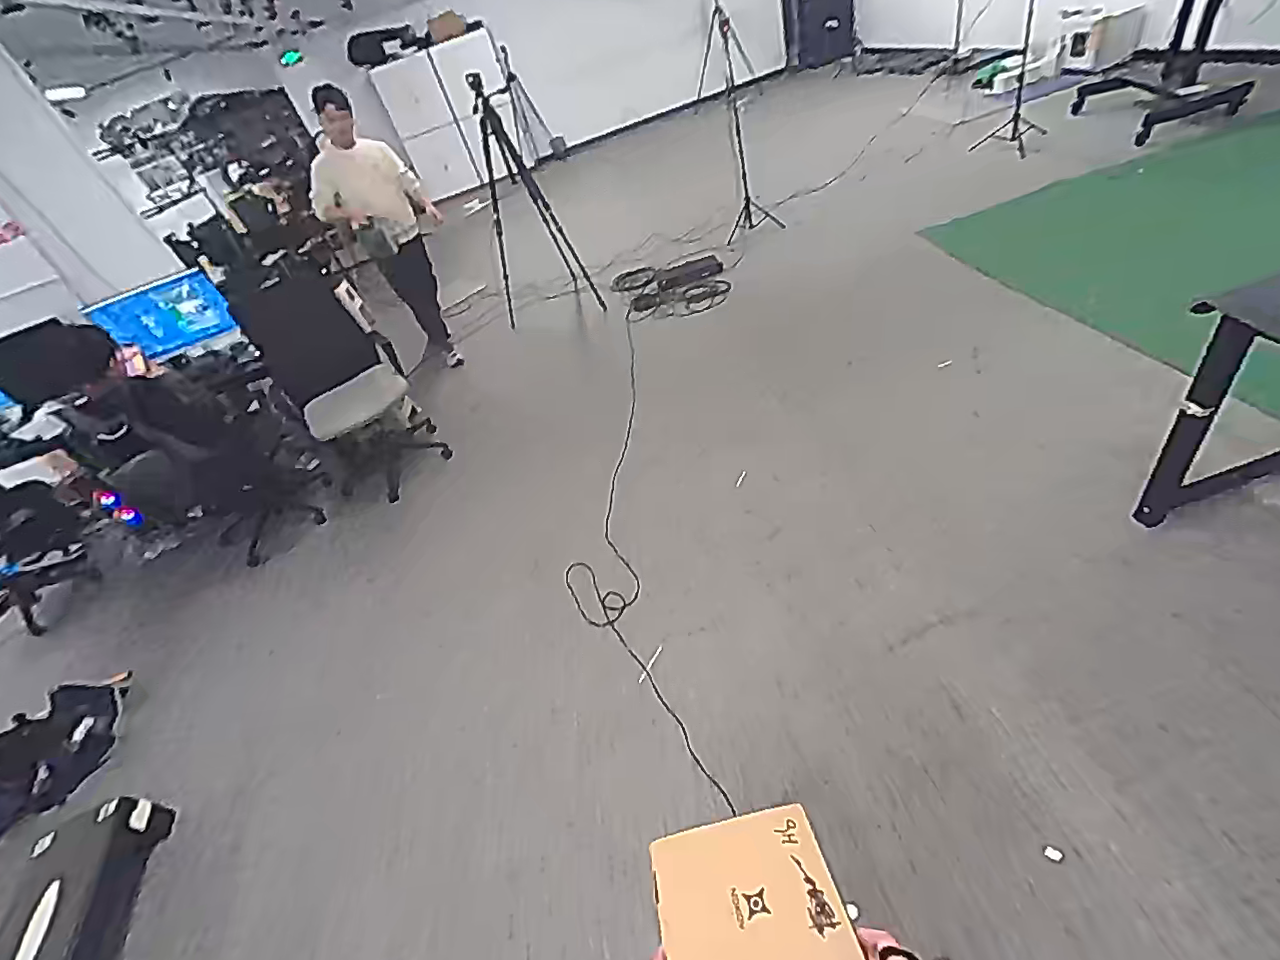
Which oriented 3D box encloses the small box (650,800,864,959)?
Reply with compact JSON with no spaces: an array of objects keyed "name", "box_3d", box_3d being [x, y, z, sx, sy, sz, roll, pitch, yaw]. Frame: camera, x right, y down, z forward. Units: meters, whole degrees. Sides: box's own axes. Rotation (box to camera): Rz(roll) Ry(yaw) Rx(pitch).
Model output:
[{"name":"small box","box_3d":[0.121,0.479,0.558,0.179,0.176,0.168,-15,25,-1]}]
